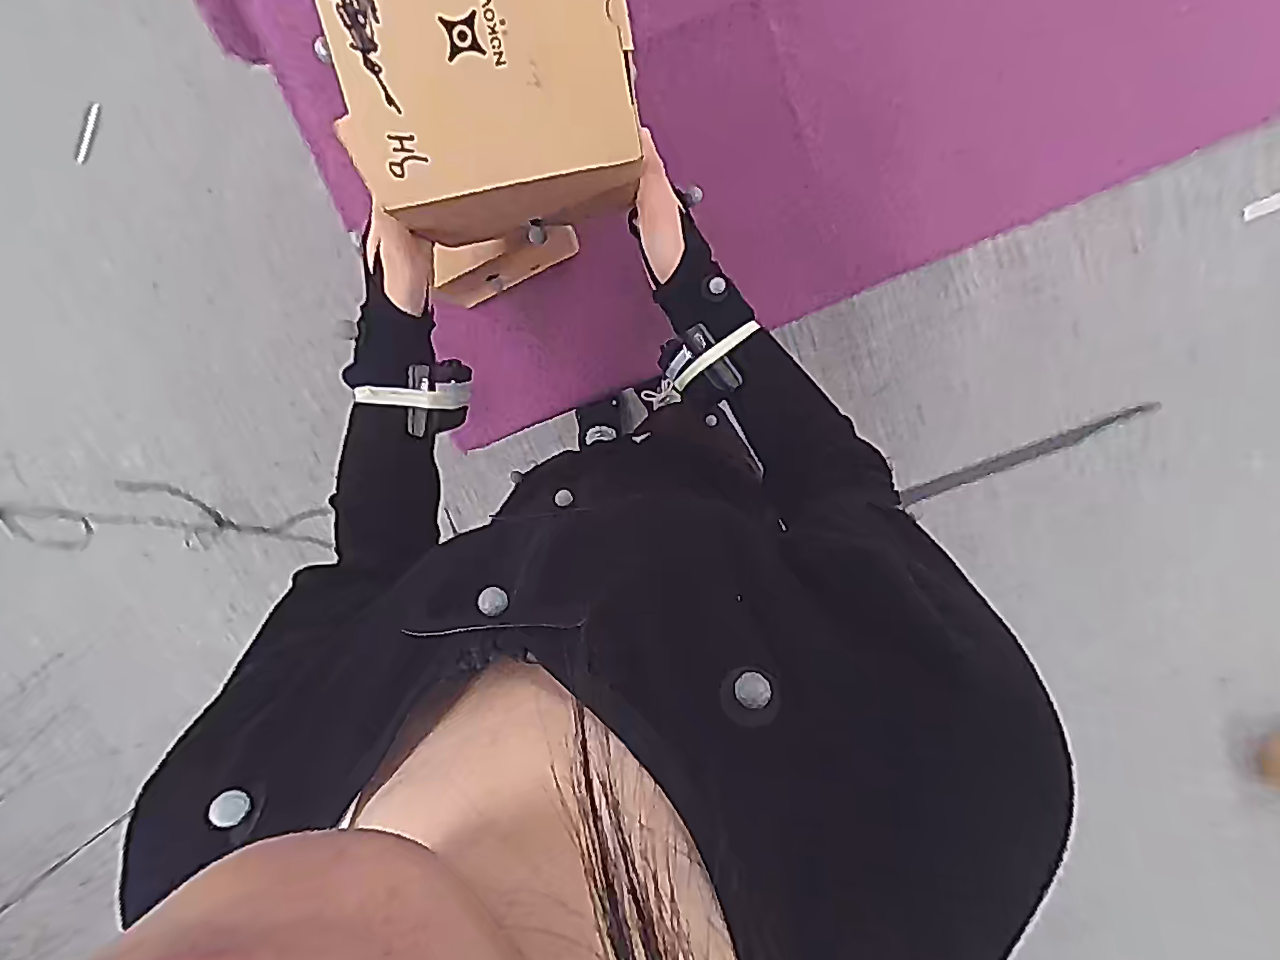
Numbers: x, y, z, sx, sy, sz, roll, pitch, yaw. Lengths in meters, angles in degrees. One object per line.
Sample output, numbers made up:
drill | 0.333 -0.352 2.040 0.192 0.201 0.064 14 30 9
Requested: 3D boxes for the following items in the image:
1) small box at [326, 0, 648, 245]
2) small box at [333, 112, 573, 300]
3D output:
small box | -0.101 -0.285 0.402 0.179 0.176 0.168 -11 105 -3
small box | -0.188 -0.317 0.609 0.168 0.176 0.179 -26 101 4
